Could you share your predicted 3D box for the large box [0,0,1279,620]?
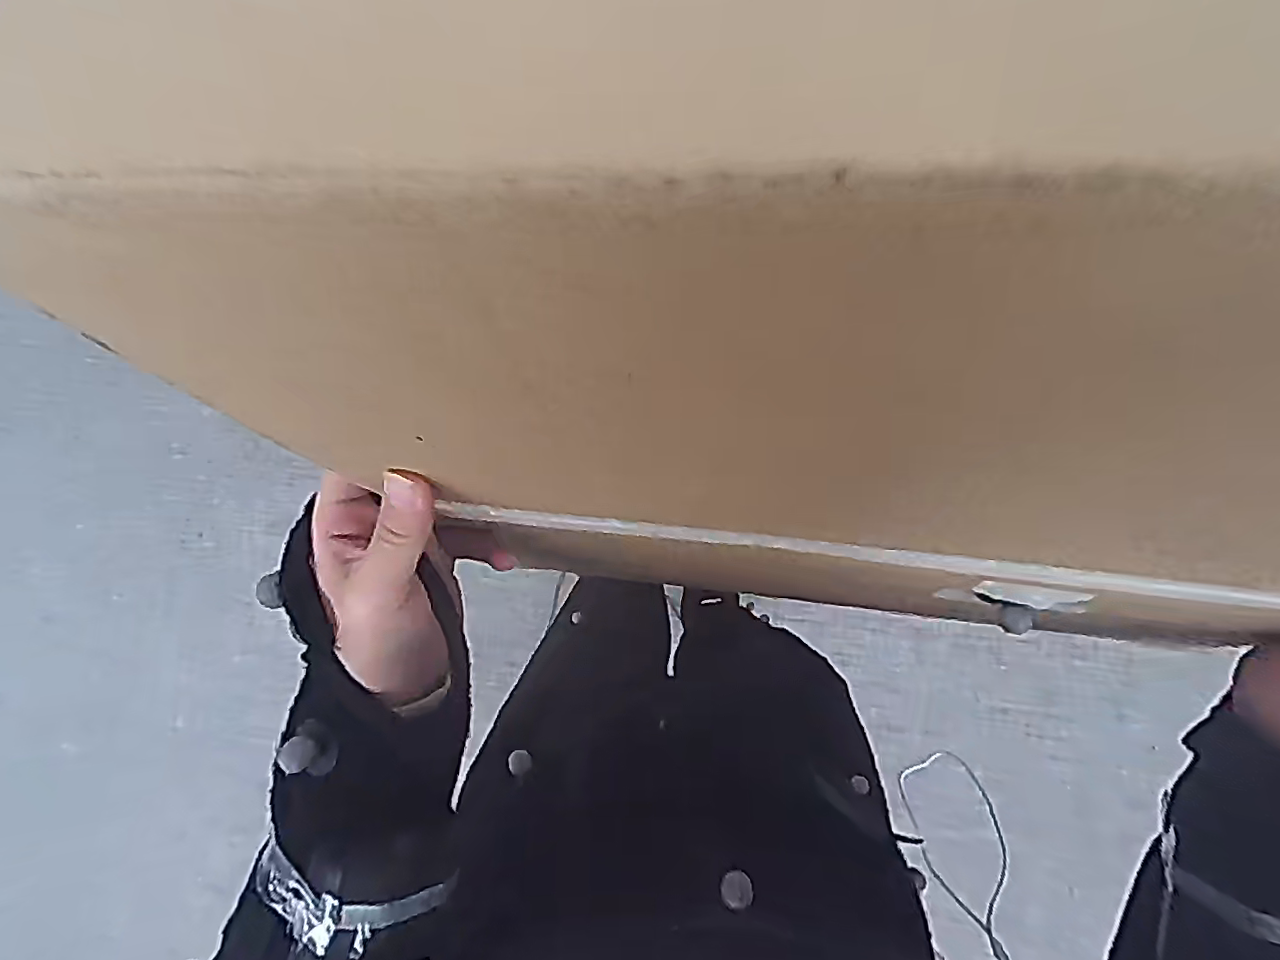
[{"bbox_3d":[0.102,-0.131,0.245,0.408,0.320,0.320,4,72,9],"label":"large box"}]
